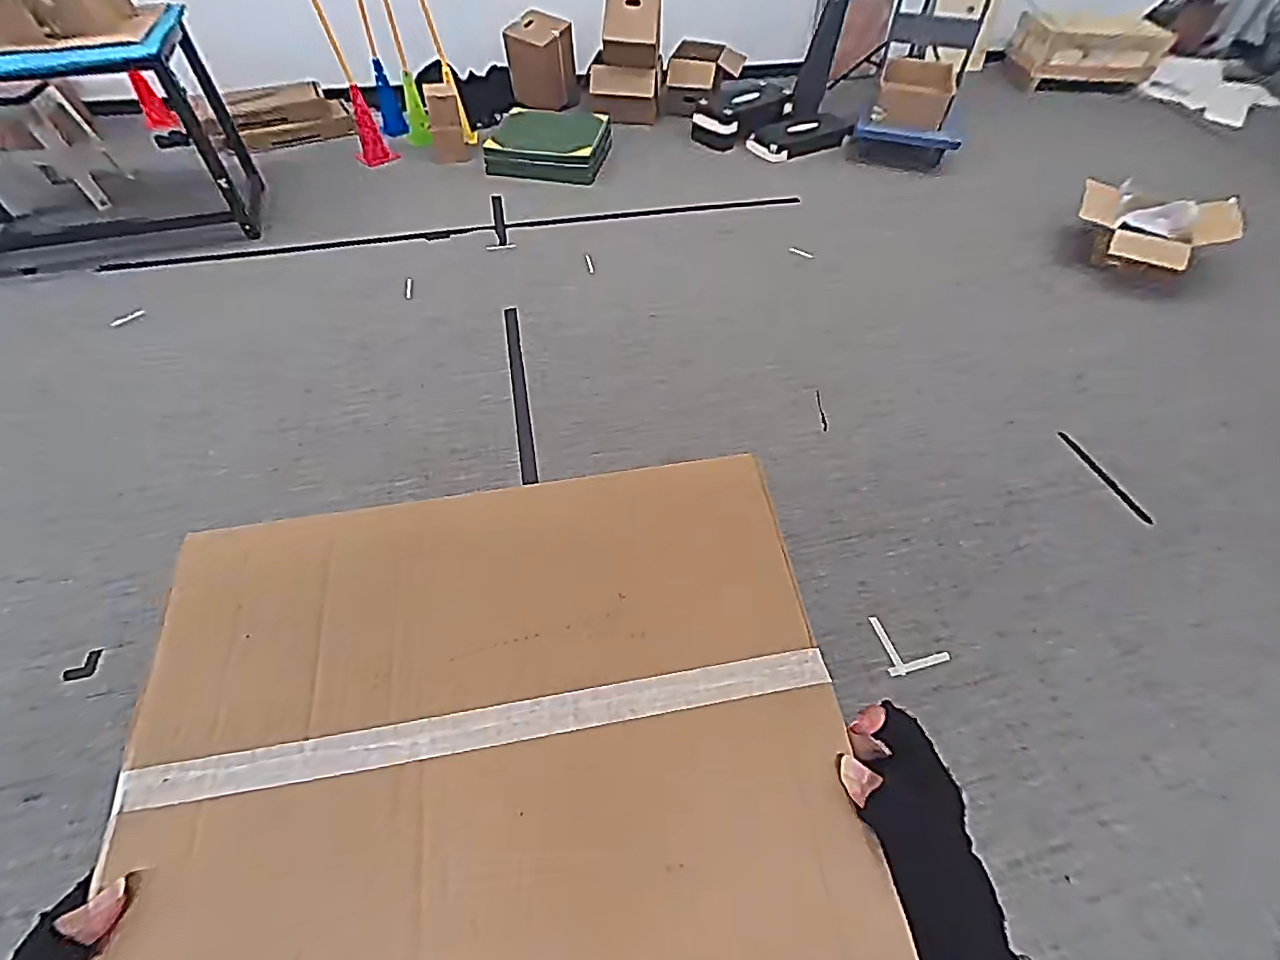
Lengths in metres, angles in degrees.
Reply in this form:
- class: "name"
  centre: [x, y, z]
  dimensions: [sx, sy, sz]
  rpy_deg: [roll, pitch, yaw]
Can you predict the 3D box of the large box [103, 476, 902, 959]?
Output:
- class: "large box"
  centre: [-0.084, 0.228, 0.451]
  dimensions: [0.408, 0.320, 0.320]
  rpy_deg: [-8, 61, -4]
